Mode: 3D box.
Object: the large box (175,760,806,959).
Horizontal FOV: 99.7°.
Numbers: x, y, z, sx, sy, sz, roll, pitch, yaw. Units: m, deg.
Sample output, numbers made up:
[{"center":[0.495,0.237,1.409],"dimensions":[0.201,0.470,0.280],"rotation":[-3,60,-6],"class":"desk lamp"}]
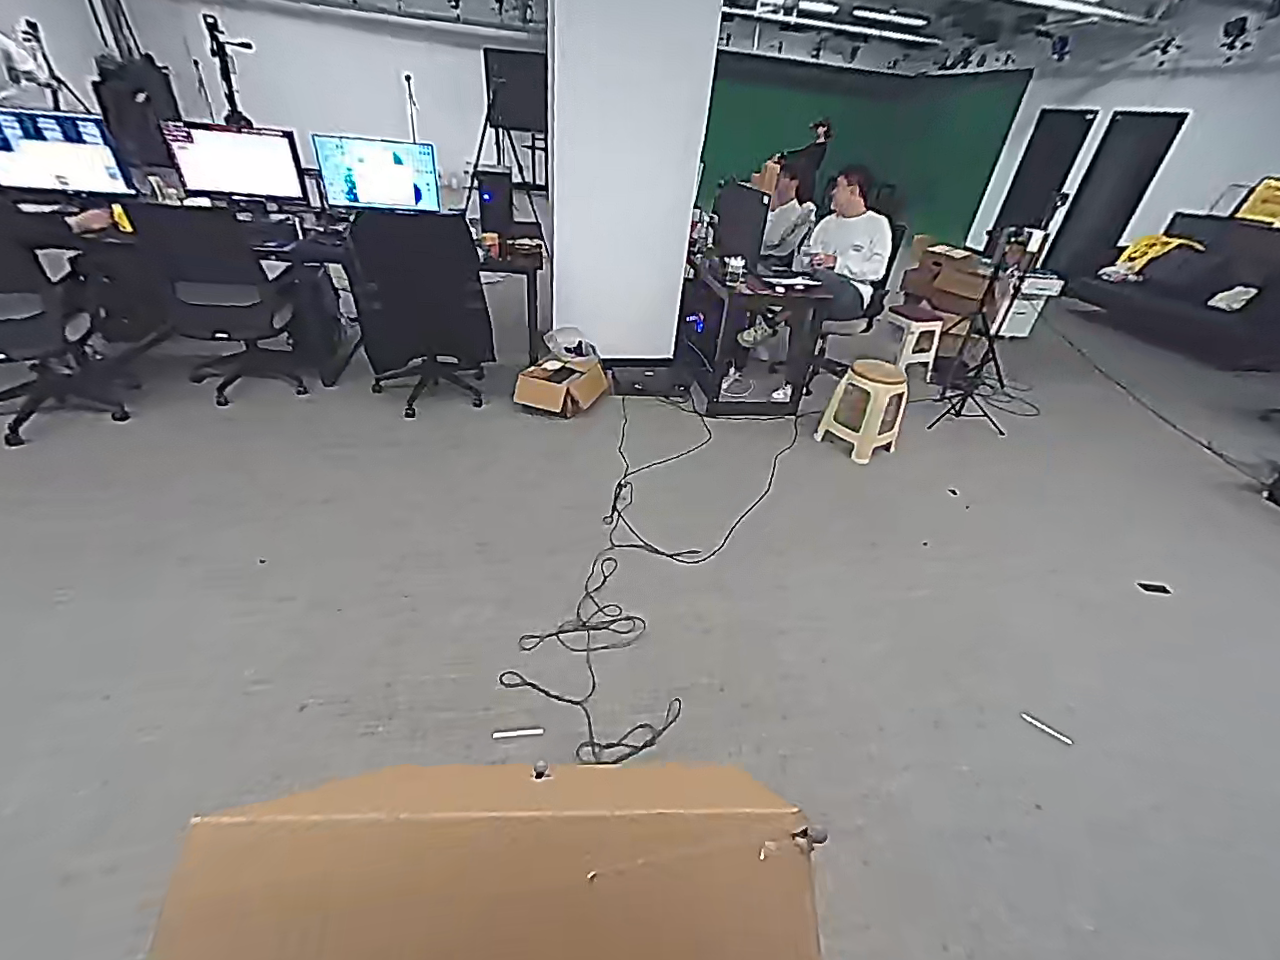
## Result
[{"center":[-0.094,0.423,0.451],"dimensions":[0.408,0.320,0.320],"rotation":[-1,69,-1],"class":"large box"}]
